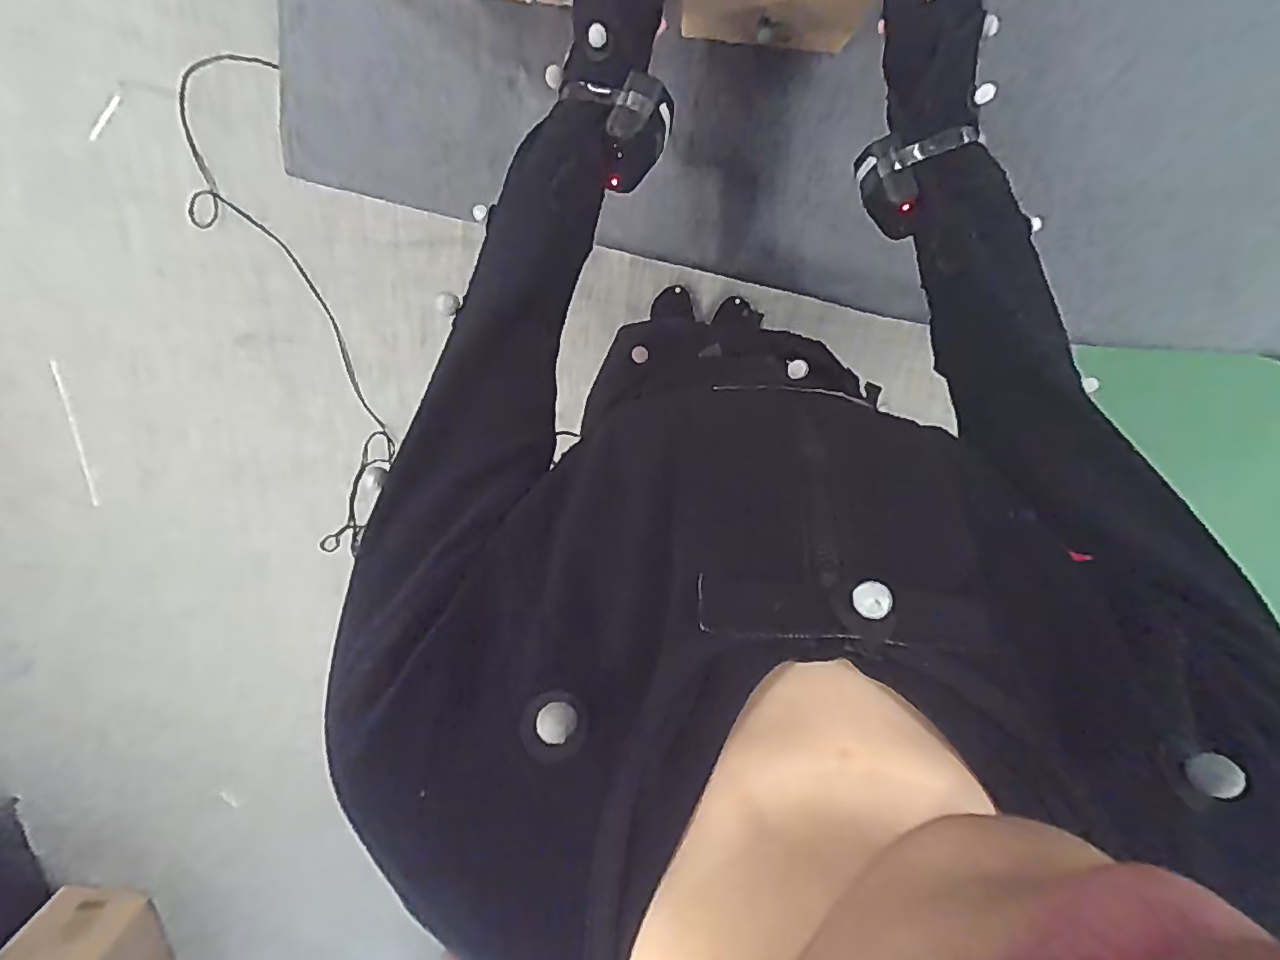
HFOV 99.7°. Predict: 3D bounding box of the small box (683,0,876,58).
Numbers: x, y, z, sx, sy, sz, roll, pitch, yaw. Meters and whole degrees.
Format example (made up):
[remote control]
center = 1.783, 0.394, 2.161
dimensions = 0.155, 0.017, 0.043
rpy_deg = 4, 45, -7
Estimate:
[small box]
center = 0.126, -0.498, 0.455
dimensions = 0.168, 0.176, 0.179
rpy_deg = 8, 112, 2
